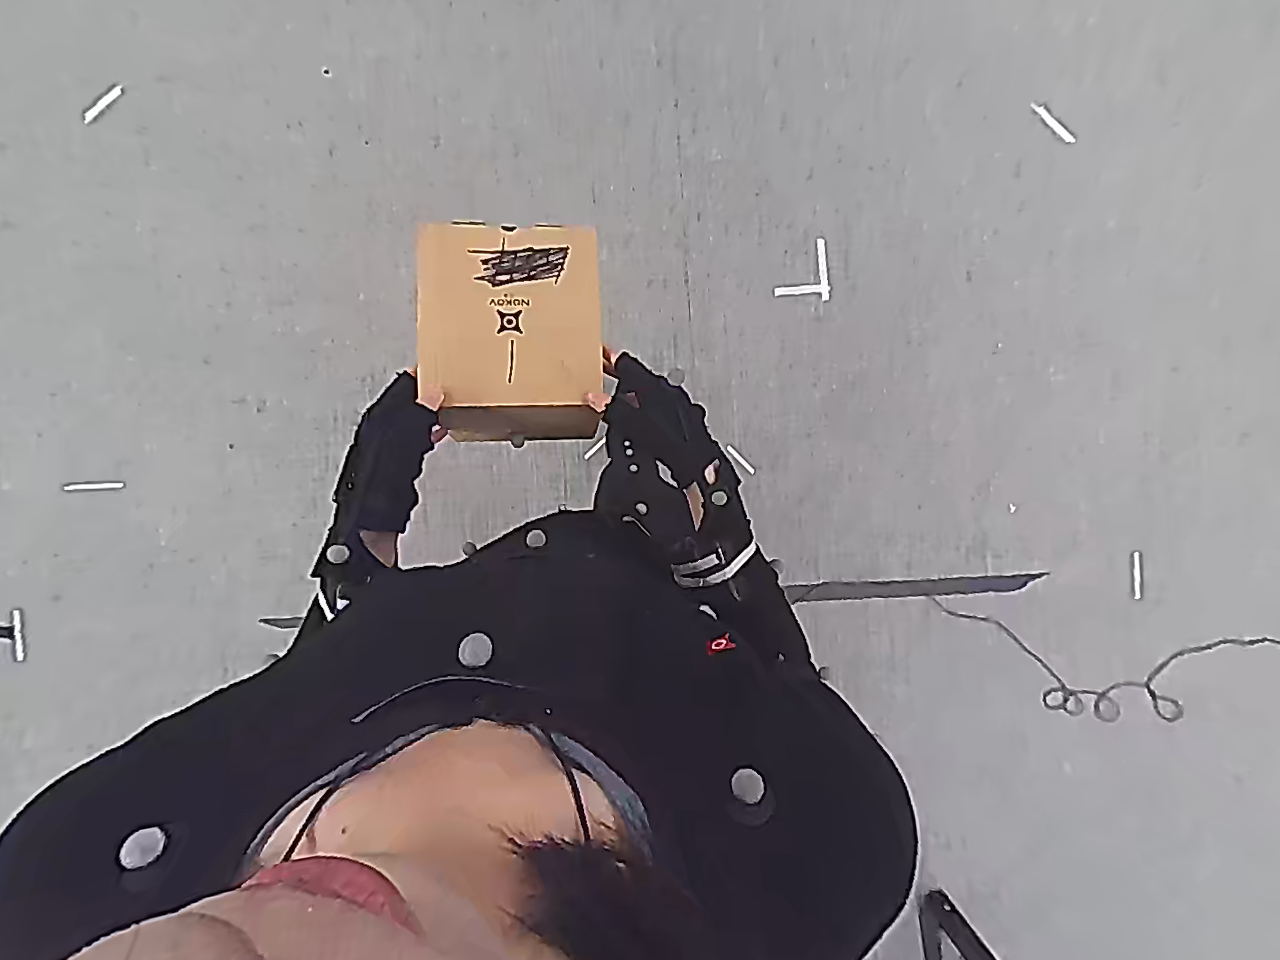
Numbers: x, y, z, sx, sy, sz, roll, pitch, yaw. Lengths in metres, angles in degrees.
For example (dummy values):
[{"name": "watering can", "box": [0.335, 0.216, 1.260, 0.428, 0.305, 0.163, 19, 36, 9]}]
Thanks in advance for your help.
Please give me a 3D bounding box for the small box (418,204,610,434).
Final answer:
[{"name": "small box", "box": [-0.121, -0.151, 0.558, 0.168, 0.176, 0.179, -2, 83, -8]}]
